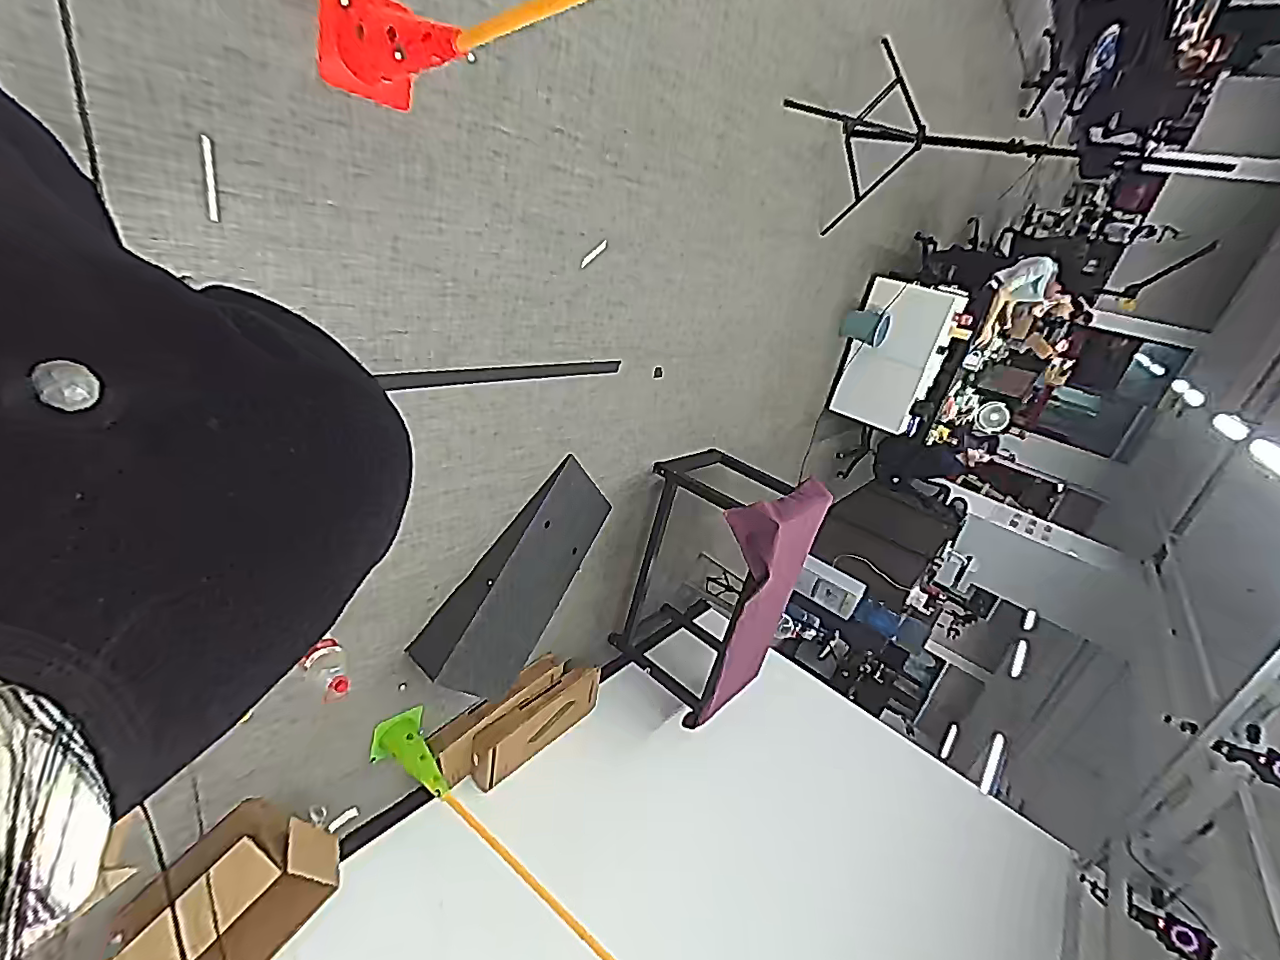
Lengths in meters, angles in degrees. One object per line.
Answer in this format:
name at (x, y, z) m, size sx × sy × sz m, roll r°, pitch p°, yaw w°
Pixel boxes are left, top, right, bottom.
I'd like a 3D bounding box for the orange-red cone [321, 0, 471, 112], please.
orange-red cone at (-0.447, -0.855, 1.062) m, size 0.198 × 0.360 × 0.199 m, roll -12°, pitch 125°, yaw -50°
